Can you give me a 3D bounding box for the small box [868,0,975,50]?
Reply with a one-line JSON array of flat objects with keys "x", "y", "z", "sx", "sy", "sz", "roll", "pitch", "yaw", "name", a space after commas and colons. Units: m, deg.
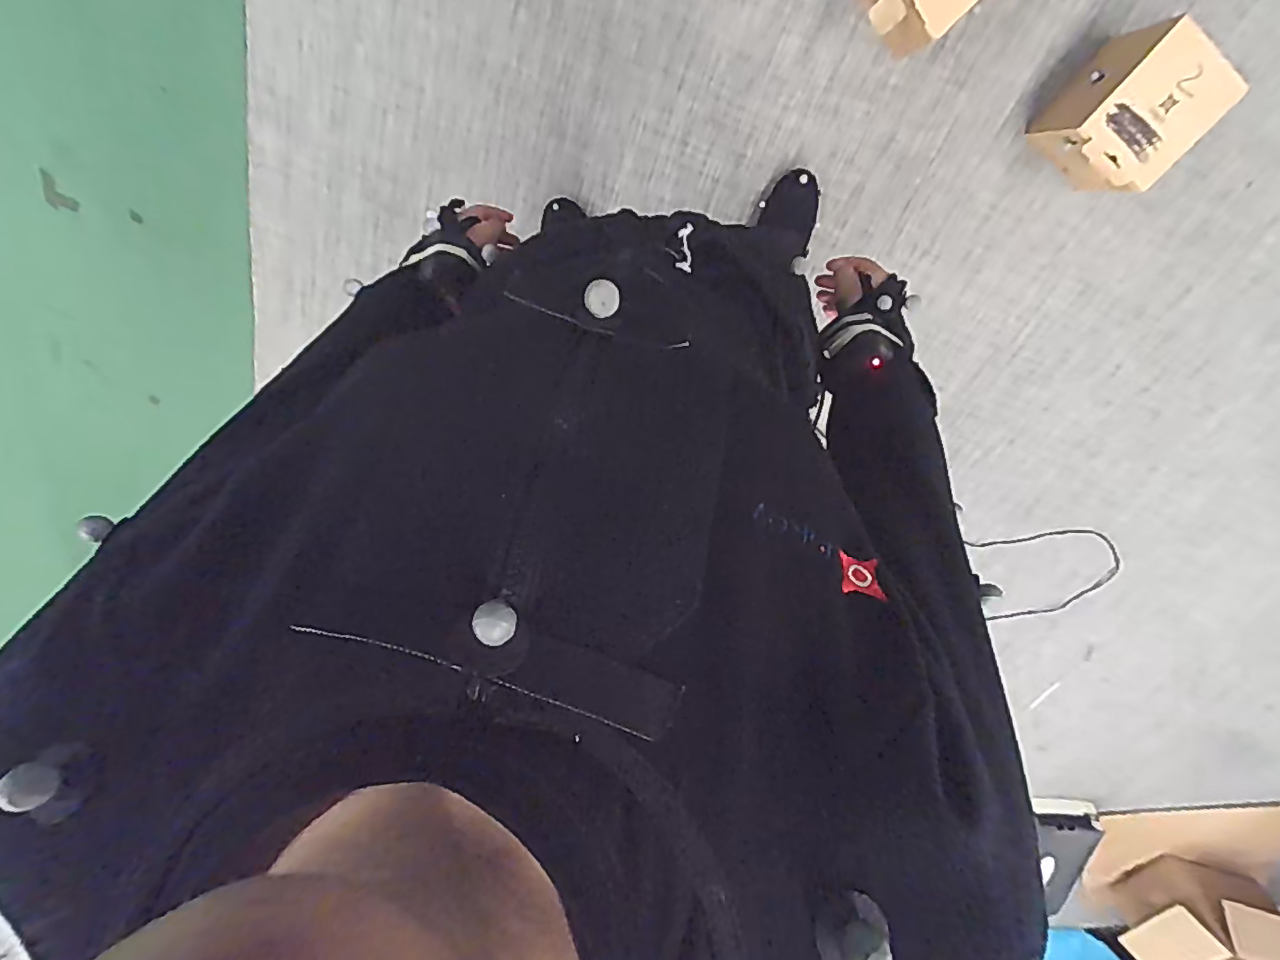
[{"x": 0.465, "y": -0.819, "z": 0.835, "sx": 0.179, "sy": 0.176, "sz": 0.168, "roll": -38, "pitch": 110, "yaw": 25, "name": "small box"}]
